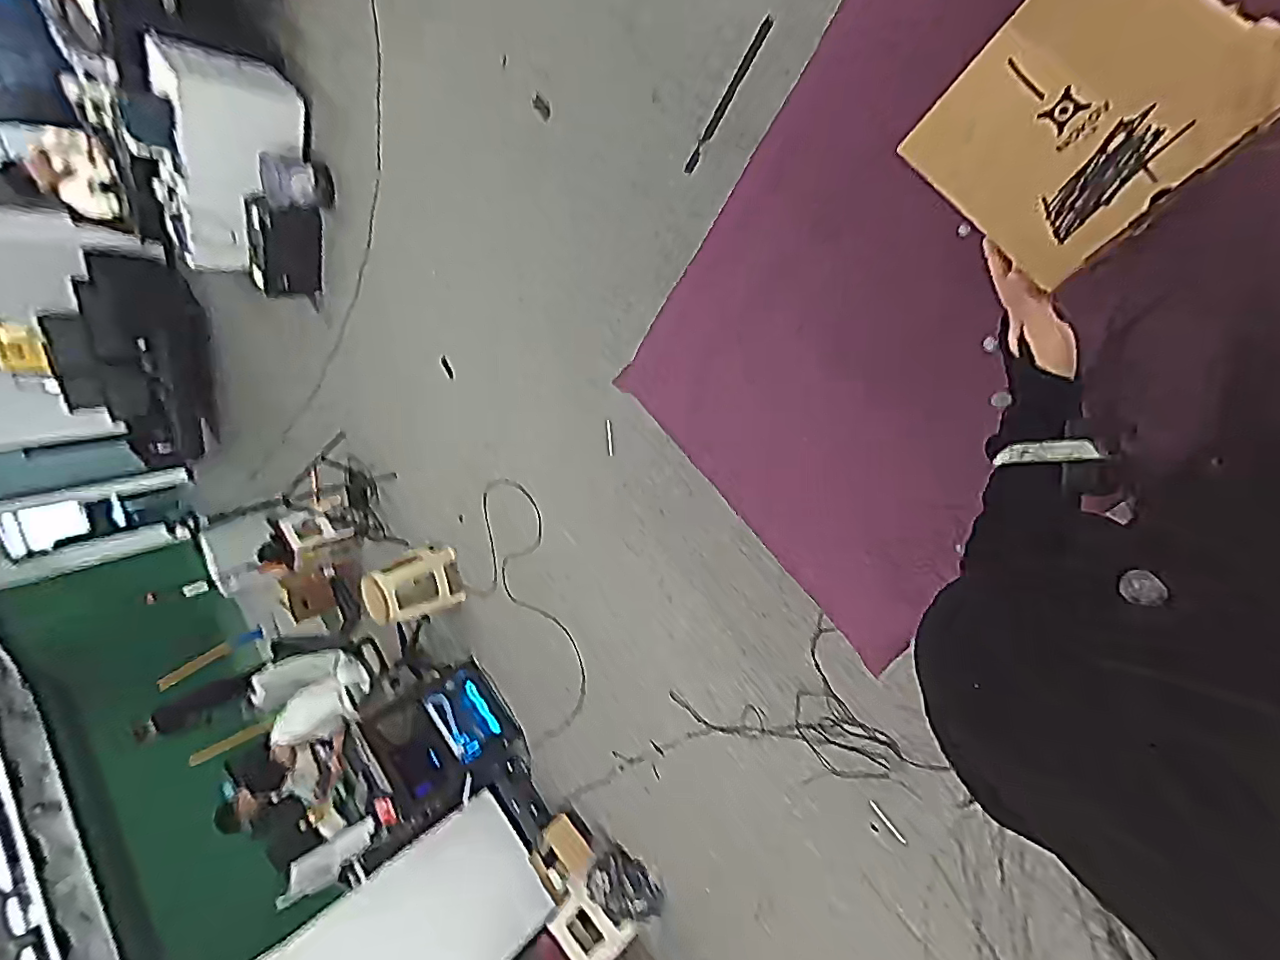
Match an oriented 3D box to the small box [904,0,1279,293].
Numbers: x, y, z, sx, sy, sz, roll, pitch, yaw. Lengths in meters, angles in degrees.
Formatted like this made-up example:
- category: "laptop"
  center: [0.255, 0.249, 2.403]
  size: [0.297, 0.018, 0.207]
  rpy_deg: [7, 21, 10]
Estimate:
- category: "small box"
  center: [0.363, -0.279, 0.445]
  size: [0.179, 0.176, 0.168]
  rpy_deg: [55, 131, 12]
